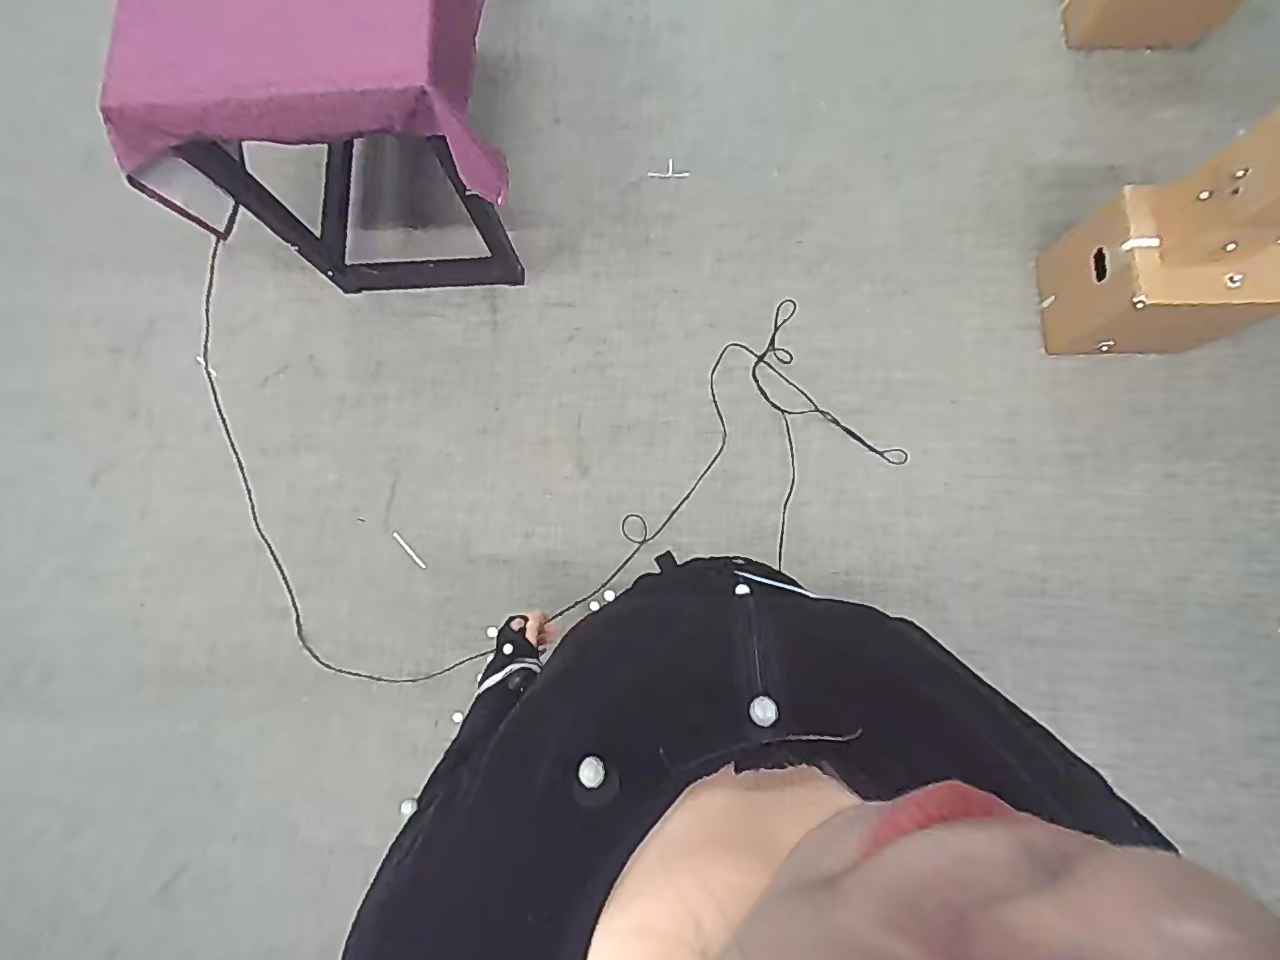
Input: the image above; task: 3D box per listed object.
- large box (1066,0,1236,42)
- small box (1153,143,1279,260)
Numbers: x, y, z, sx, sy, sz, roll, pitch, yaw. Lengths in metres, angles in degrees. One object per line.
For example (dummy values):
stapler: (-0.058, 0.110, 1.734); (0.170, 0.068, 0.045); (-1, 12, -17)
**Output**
large box: (1.548, -1.554, 1.577); (0.408, 0.320, 0.320); (0, 82, 1)
small box: (1.304, -0.607, 1.199); (0.168, 0.176, 0.179); (-1, 80, 2)
